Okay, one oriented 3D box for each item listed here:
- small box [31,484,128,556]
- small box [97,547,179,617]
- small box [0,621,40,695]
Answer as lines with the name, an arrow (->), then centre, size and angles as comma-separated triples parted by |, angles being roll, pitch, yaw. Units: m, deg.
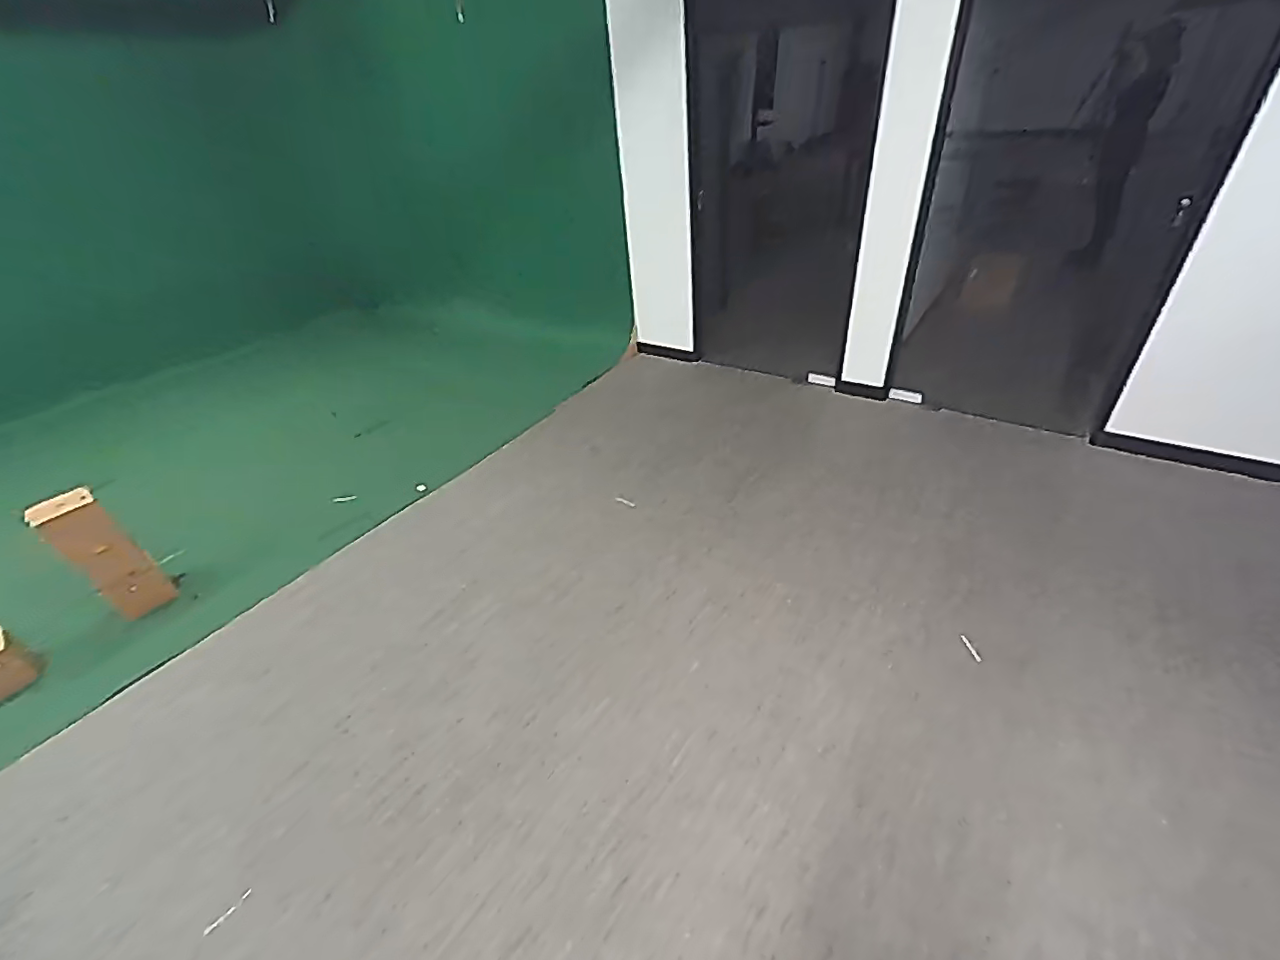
small box -> -2.023, 0.147, 1.955 | 0.168, 0.176, 0.179 | 22, 45, 33
small box -> -1.990, 0.406, 2.155 | 0.168, 0.176, 0.179 | 24, 45, 33
small box -> -2.240, 0.634, 1.870 | 0.168, 0.176, 0.179 | 25, 46, 35
